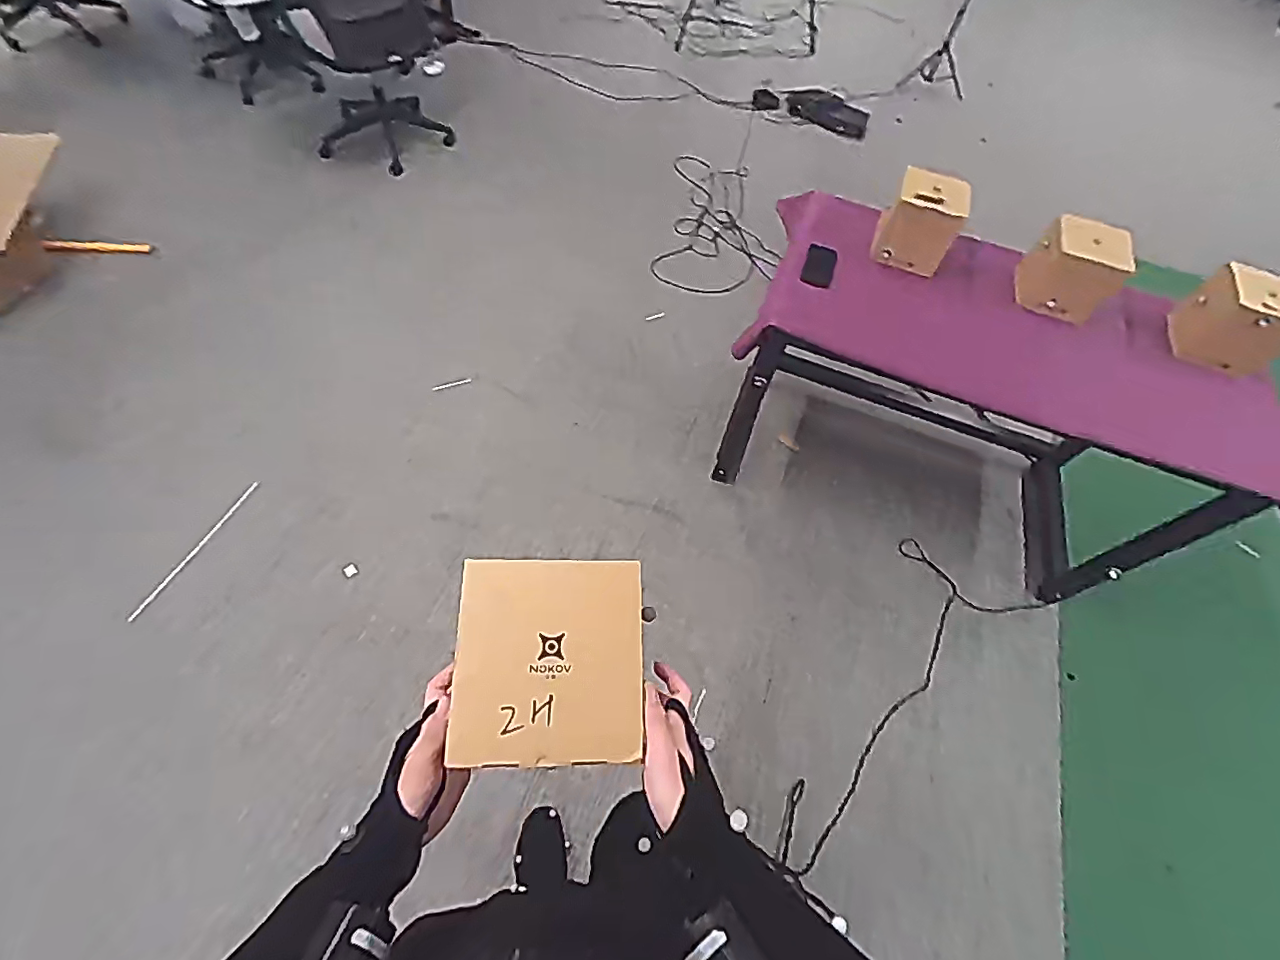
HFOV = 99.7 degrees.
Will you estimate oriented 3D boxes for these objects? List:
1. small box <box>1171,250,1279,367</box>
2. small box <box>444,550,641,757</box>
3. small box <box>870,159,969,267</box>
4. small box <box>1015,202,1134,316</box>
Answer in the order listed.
[{"bbox_3d":[1.428,-0.406,1.290,0.168,0.176,0.179,21,59,9],"label":"small box"},{"bbox_3d":[-0.088,0.177,0.555,0.168,0.176,0.179,1,70,-4],"label":"small box"},{"bbox_3d":[0.709,-0.679,1.385,0.168,0.176,0.179,20,59,7],"label":"small box"},{"bbox_3d":[1.067,-0.545,1.342,0.168,0.176,0.179,21,60,8],"label":"small box"}]
